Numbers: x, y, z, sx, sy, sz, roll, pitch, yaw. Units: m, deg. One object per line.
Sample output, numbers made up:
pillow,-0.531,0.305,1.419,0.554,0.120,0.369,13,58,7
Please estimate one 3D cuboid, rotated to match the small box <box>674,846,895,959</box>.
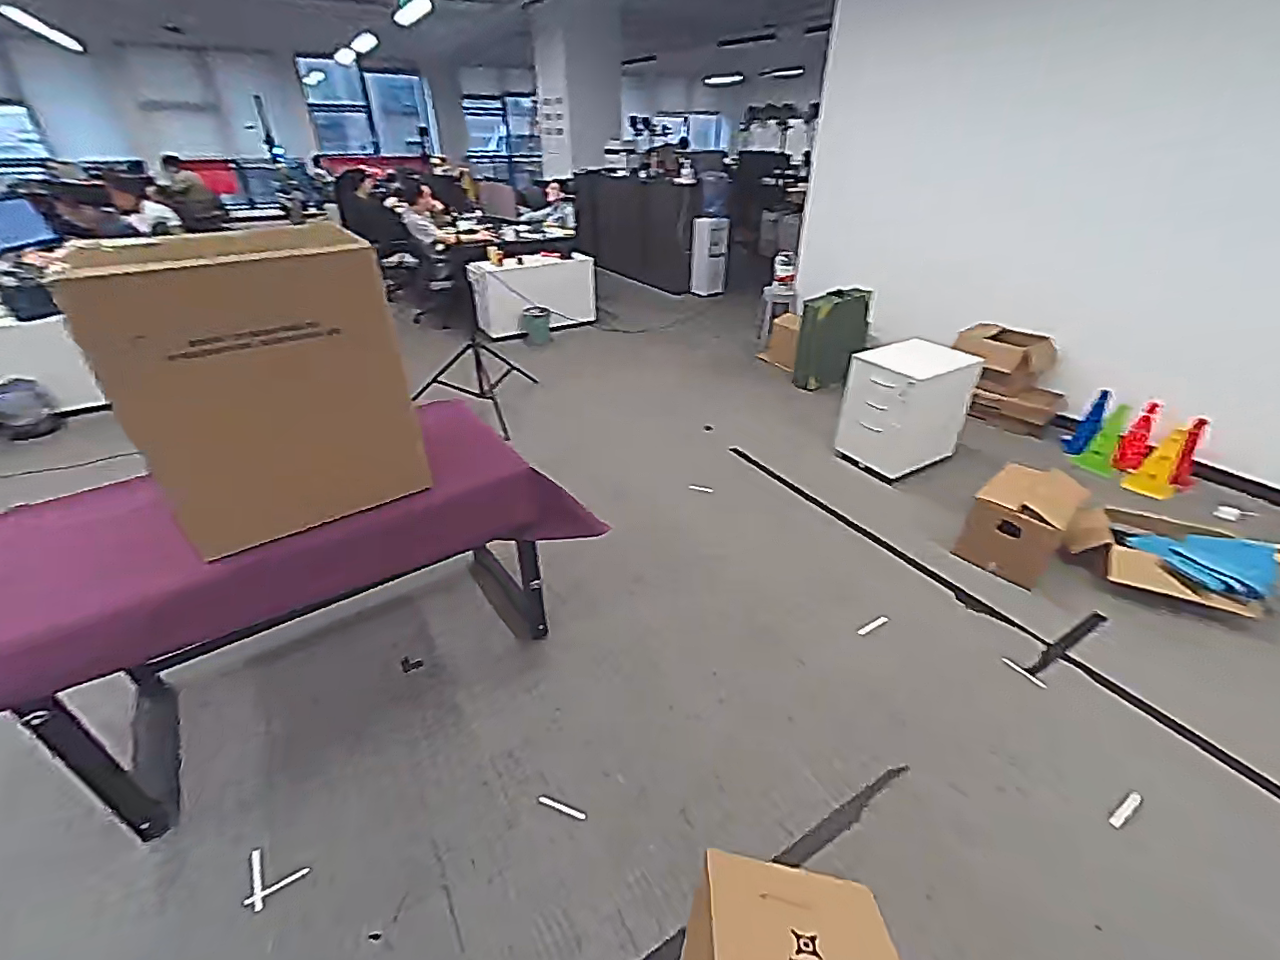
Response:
small box,0.116,0.464,0.452,0.168,0.176,0.179,12,4,2
